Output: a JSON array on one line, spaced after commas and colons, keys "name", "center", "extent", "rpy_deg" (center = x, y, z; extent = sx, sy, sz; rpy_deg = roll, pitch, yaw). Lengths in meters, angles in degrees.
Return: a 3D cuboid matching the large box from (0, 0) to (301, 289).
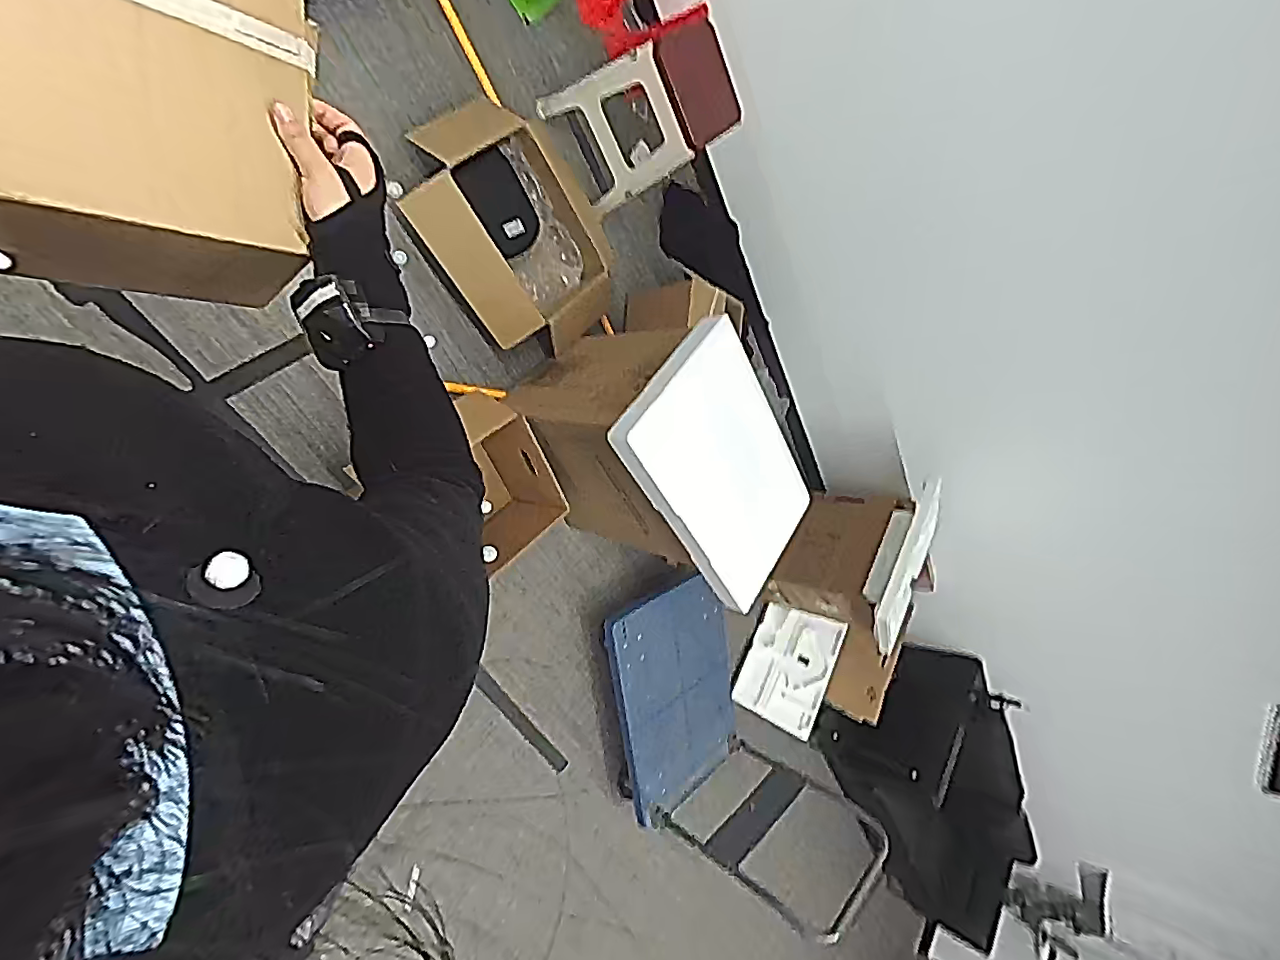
[{"name": "large box", "center": [-0.533, -0.356, 0.426], "extent": [0.408, 0.320, 0.320], "rpy_deg": [-5, 98, -41]}]
